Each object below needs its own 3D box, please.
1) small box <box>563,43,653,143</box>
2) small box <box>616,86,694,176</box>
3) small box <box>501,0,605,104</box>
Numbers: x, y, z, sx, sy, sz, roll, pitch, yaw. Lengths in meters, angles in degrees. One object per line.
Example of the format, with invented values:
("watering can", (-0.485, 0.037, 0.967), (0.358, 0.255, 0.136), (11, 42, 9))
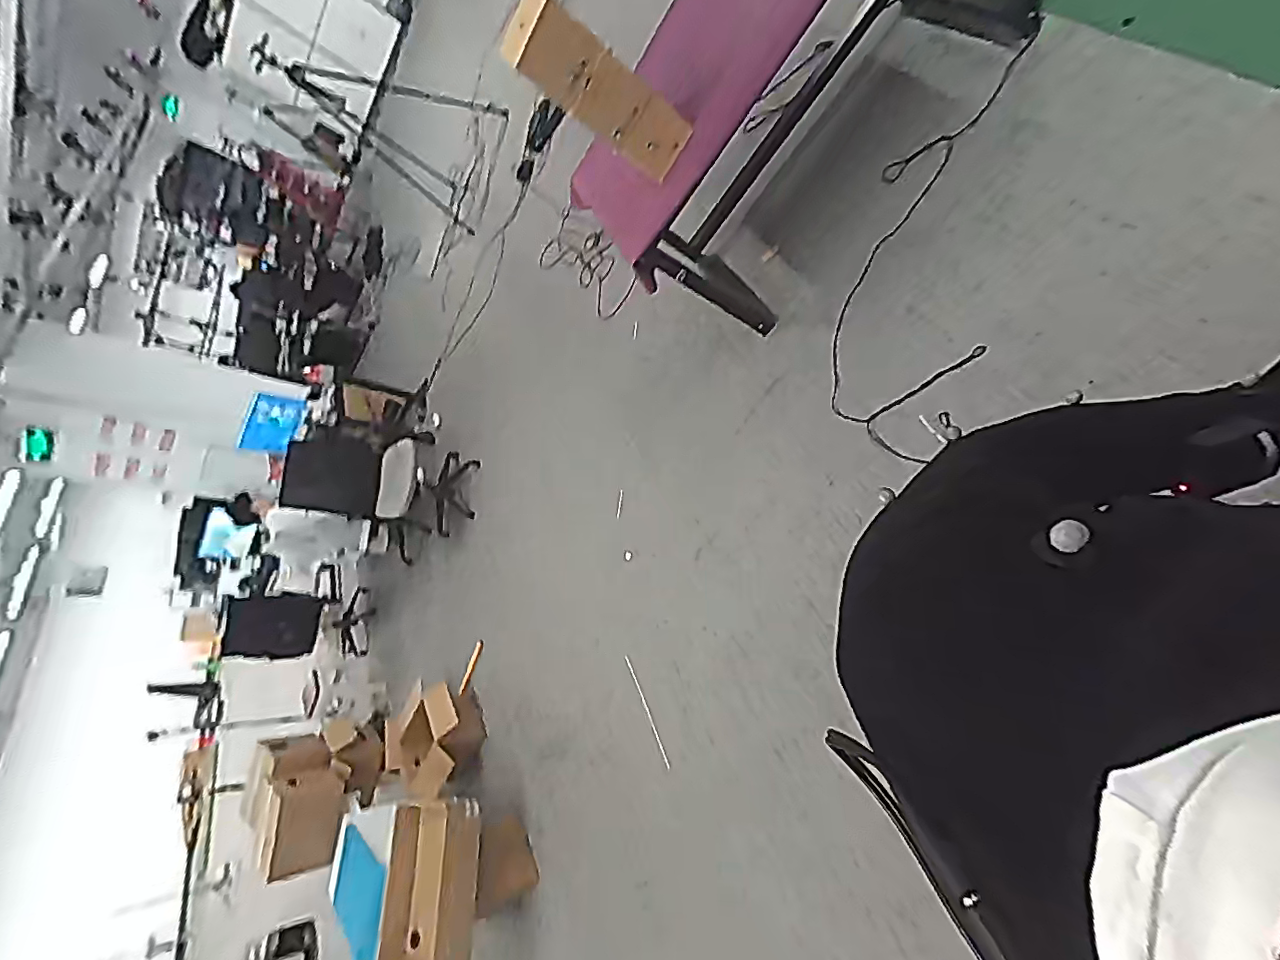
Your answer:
("small box", (-0.094, -1.036, 1.435), (0.168, 0.176, 0.179), (-50, 47, 27))
("small box", (0.025, -1.009, 1.546), (0.168, 0.176, 0.179), (-51, 48, 26))
("small box", (-0.214, -1.072, 1.331), (0.168, 0.176, 0.179), (-50, 48, 27))
